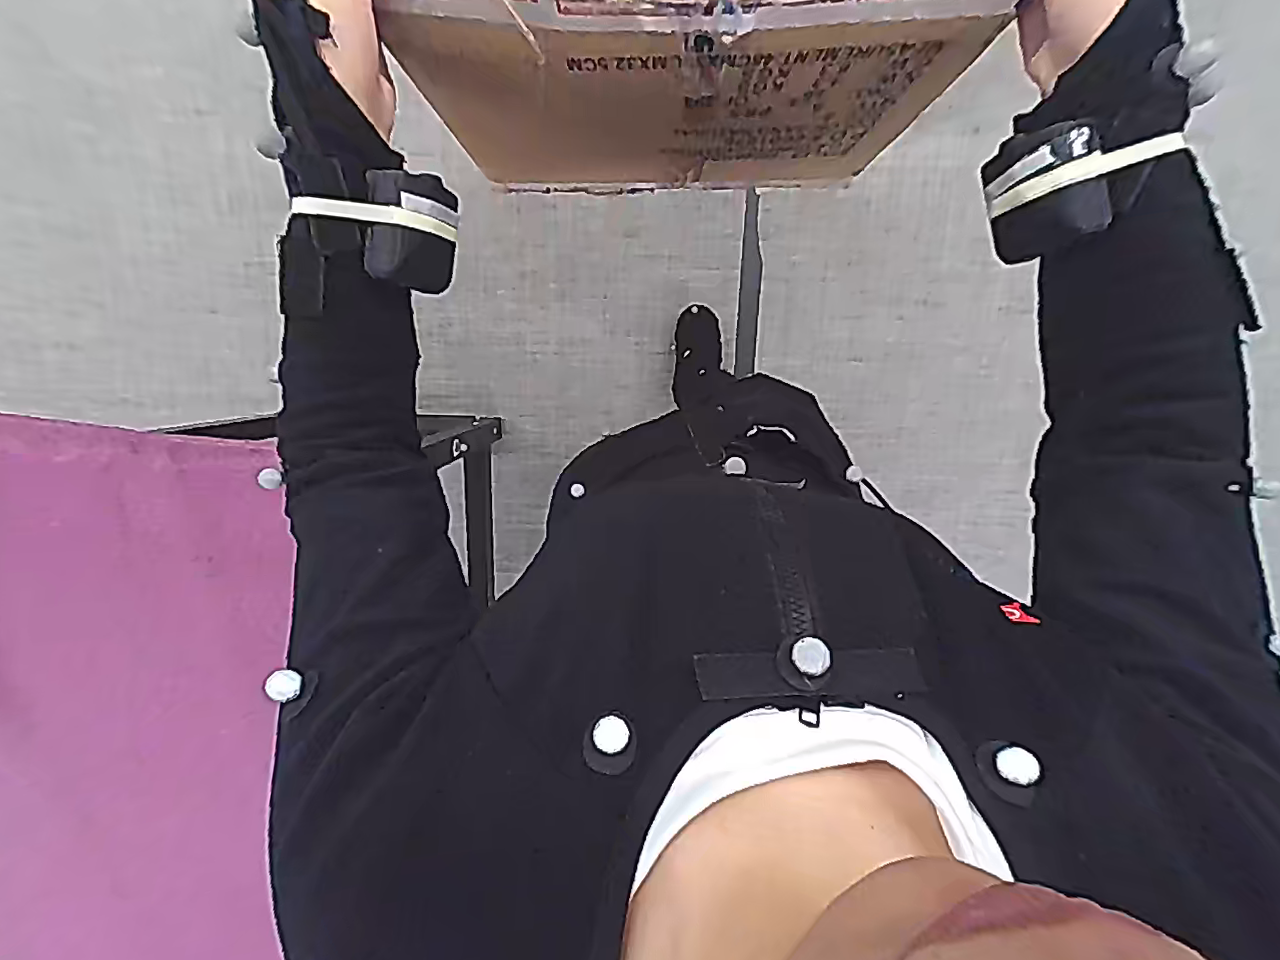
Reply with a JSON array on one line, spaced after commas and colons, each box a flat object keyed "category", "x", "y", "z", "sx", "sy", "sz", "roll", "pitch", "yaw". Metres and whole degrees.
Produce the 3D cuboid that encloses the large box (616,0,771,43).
[{"category": "large box", "x": 0.102, "y": -1.113, "z": 0.989, "sx": 0.320, "sy": 0.320, "sz": 0.408, "roll": 0, "pitch": 103, "yaw": 2}]
